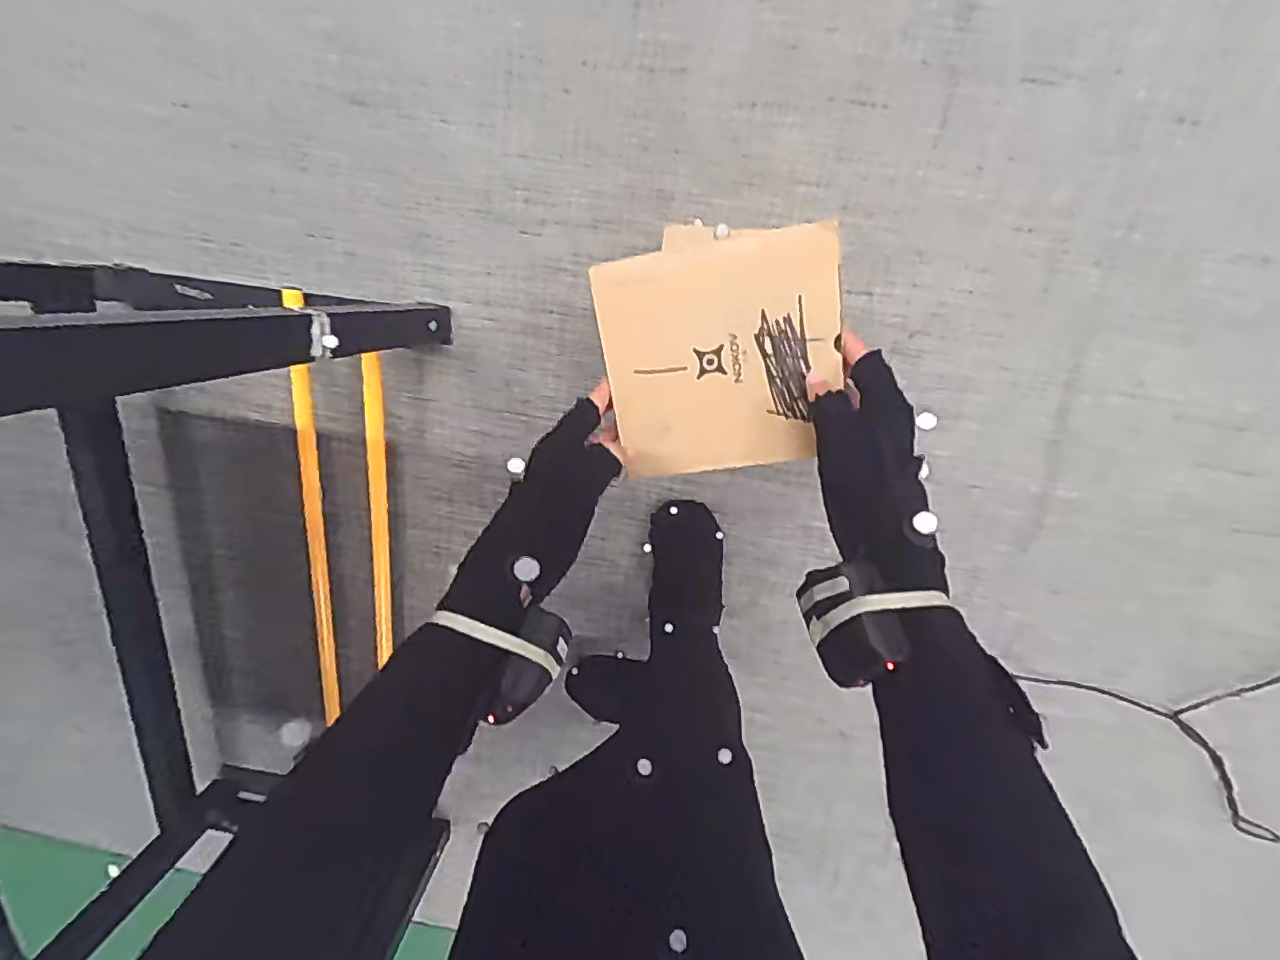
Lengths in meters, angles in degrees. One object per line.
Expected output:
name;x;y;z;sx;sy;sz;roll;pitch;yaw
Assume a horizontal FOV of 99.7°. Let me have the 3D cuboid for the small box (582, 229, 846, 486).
small box;0.066;-0.108;0.466;0.179;0.176;0.168;-7;108;11
